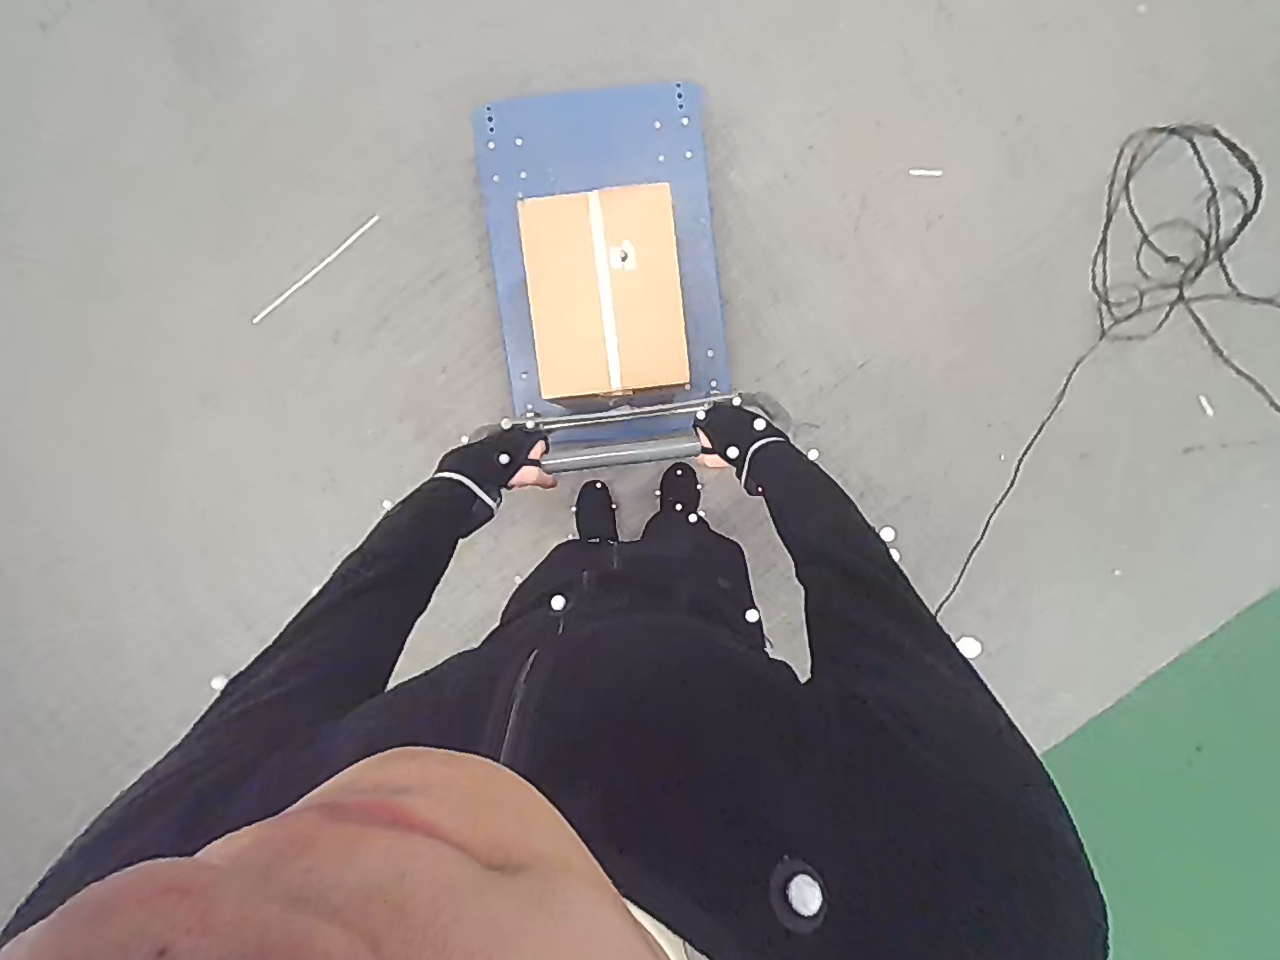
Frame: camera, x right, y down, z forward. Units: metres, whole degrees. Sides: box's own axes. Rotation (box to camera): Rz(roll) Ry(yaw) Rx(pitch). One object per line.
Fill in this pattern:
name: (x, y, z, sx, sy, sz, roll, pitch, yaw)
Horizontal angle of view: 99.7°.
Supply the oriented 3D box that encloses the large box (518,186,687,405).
large box: (-0.076, -0.401, 1.272, 0.320, 0.320, 0.408, -6, 95, 0)
